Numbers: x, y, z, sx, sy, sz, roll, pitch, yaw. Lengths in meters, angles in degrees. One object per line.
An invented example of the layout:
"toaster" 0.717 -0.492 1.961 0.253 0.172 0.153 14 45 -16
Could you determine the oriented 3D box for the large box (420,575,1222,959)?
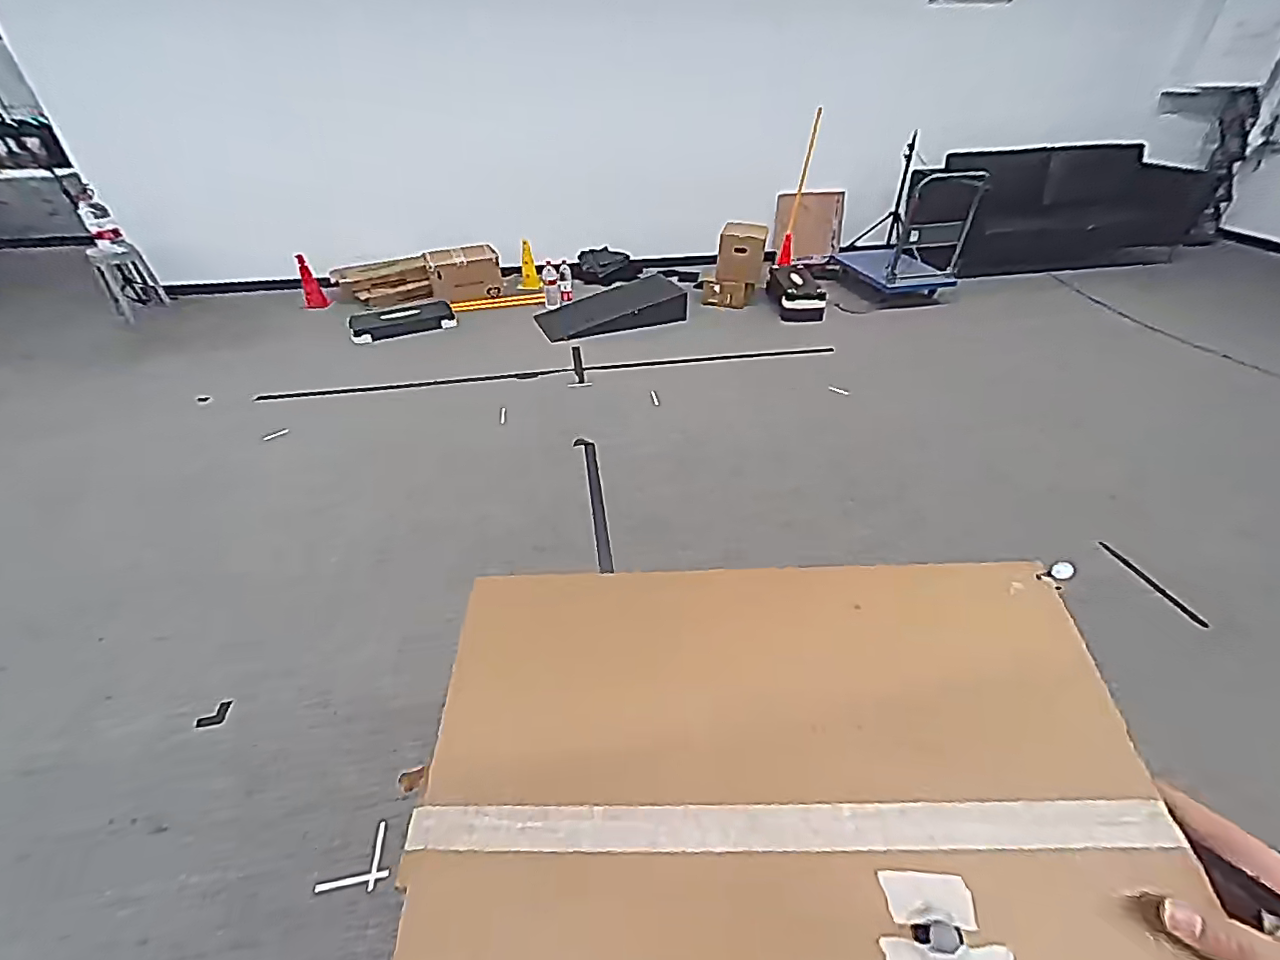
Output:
"large box" 0.090 0.290 0.419 0.408 0.320 0.320 -2 53 3
